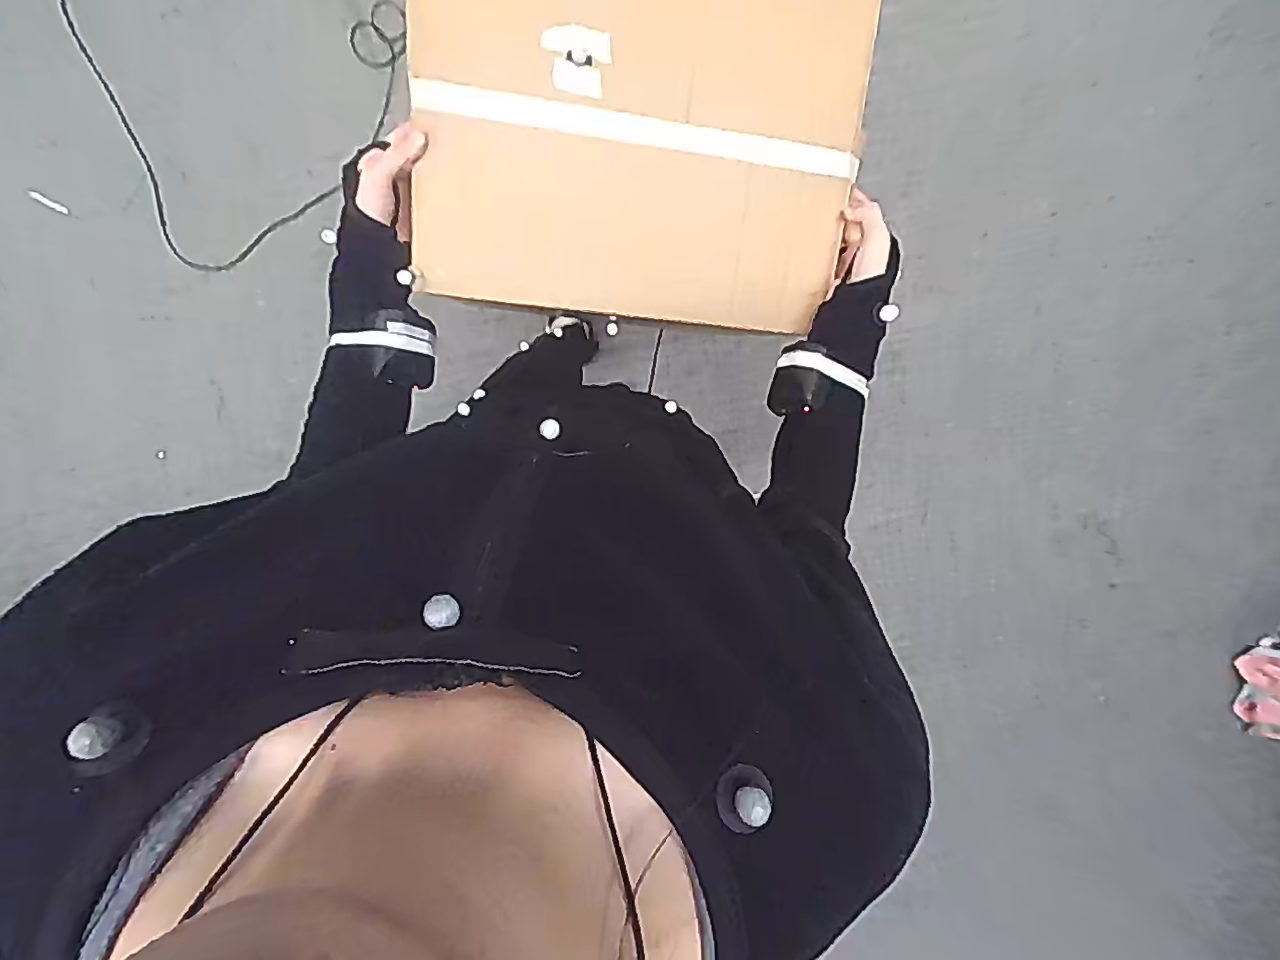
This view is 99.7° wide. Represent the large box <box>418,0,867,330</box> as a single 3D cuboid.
[{"bbox_3d":[-0.018,-0.358,0.644,0.408,0.320,0.320,4,105,-10],"label":"large box"}]
